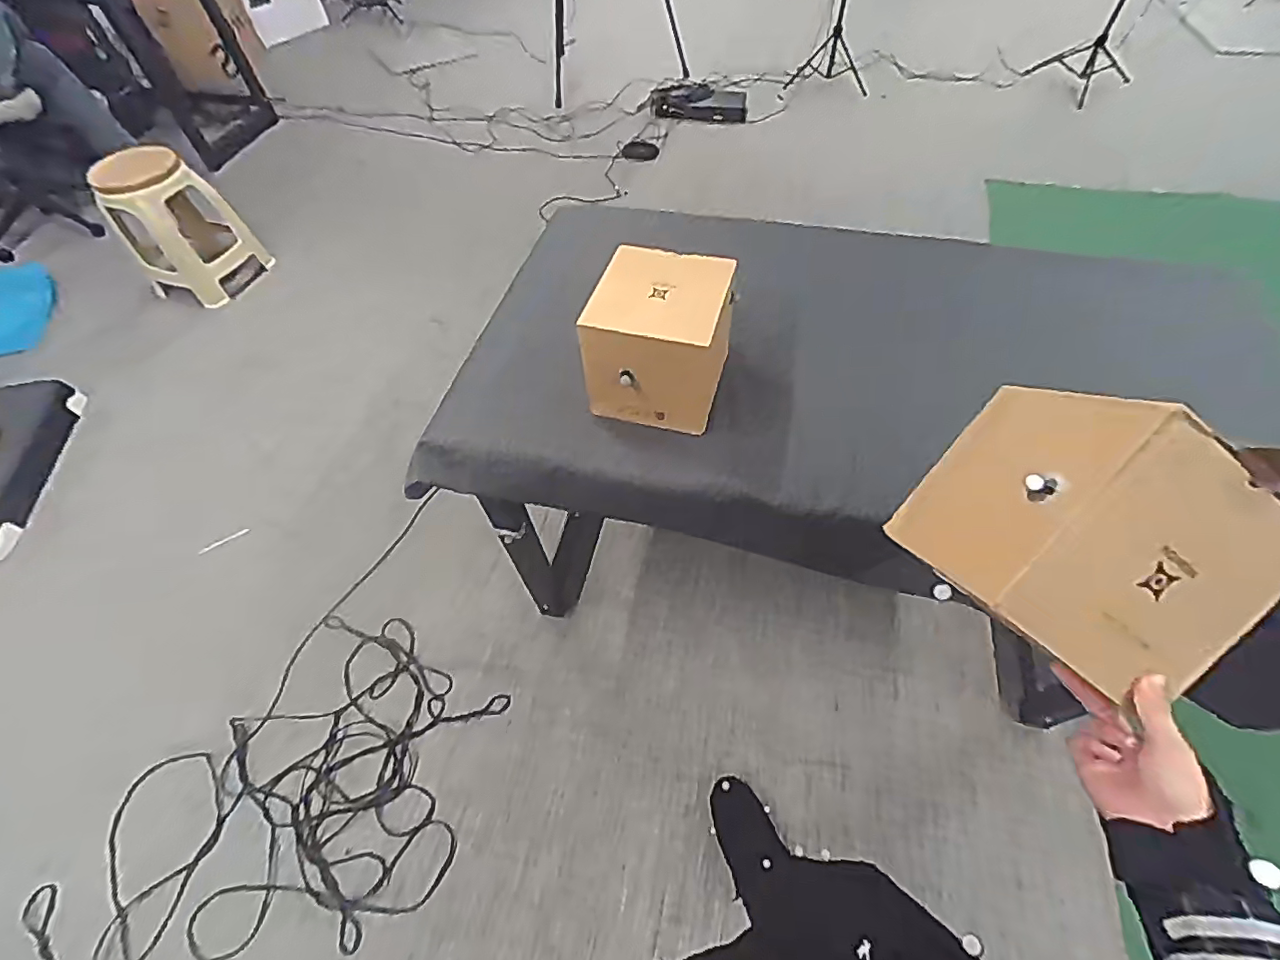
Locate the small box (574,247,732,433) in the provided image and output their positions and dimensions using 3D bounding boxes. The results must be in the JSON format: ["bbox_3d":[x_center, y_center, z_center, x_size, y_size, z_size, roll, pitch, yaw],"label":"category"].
[{"bbox_3d":[0.025,-0.189,0.744,0.168,0.176,0.179,12,55,11],"label":"small box"}]

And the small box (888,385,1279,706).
[{"bbox_3d":[0.349,0.036,0.449,0.168,0.176,0.179,34,100,-10],"label":"small box"}]
